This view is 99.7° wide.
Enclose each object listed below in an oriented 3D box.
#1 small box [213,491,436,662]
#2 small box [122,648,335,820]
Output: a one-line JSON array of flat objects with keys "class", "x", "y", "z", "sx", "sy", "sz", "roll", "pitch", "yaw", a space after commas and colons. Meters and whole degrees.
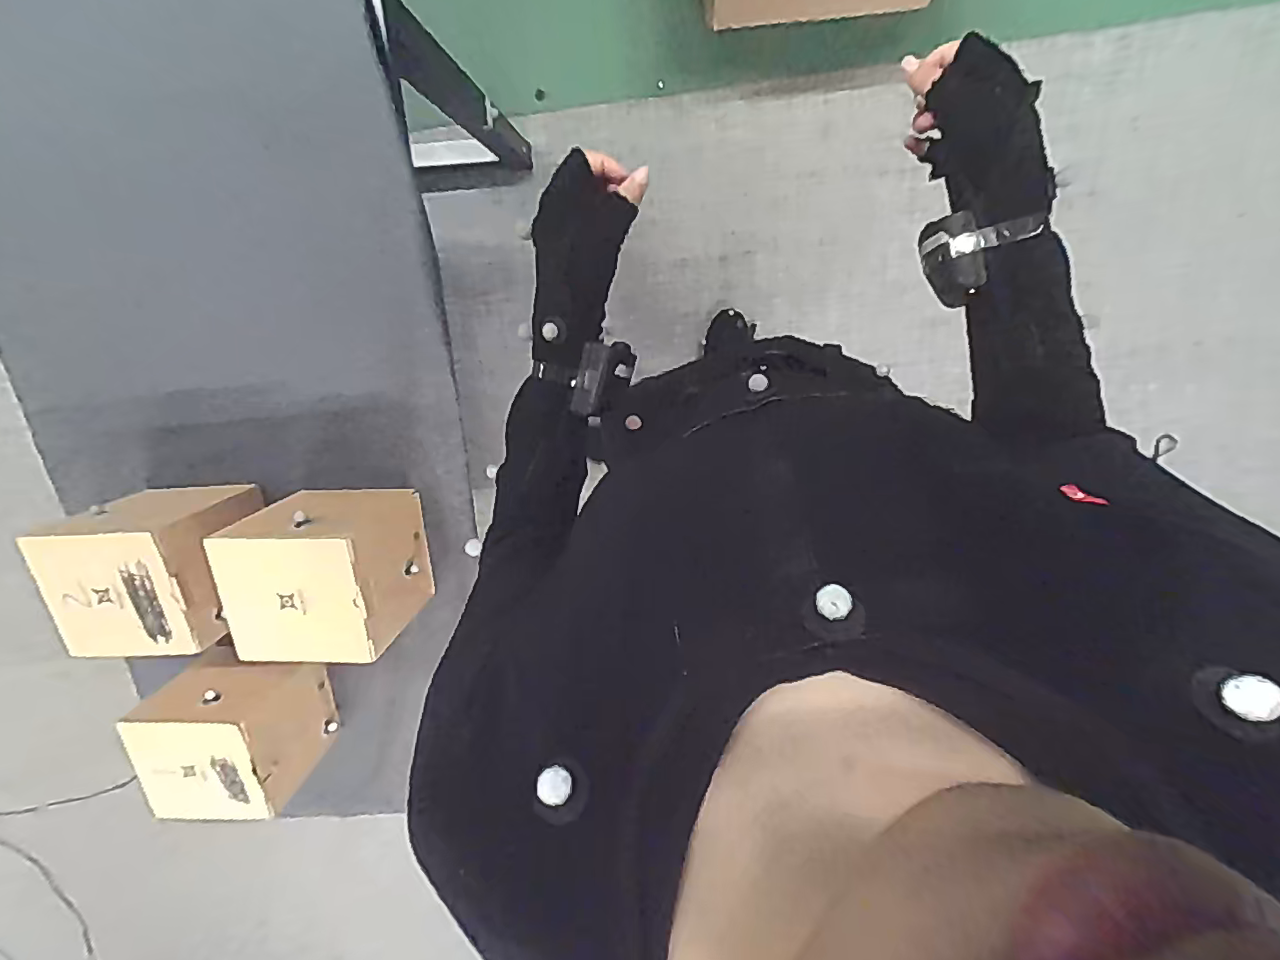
[{"class": "small box", "x": -0.395, "y": 0.117, "z": 0.710, "sx": 0.179, "sy": 0.176, "sz": 0.168, "roll": -1, "pitch": 107, "yaw": 5}, {"class": "small box", "x": -0.582, "y": 0.365, "z": 0.798, "sx": 0.179, "sy": 0.176, "sz": 0.168, "roll": -2, "pitch": 107, "yaw": 5}]
